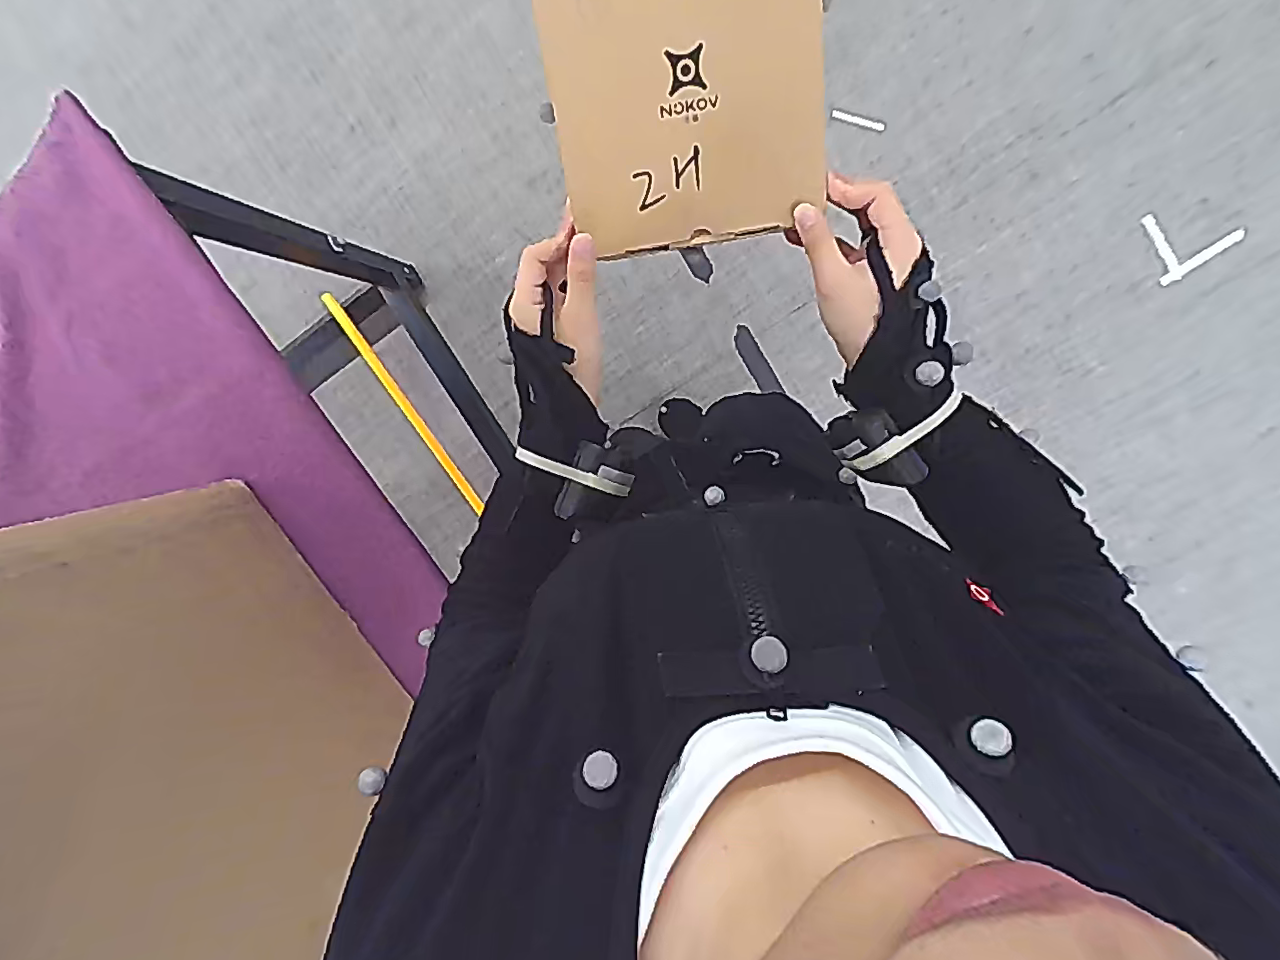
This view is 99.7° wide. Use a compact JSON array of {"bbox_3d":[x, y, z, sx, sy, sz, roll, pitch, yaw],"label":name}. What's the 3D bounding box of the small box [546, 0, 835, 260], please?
[{"bbox_3d":[0.037,-0.273,0.406,0.168,0.176,0.179,-8,110,8],"label":"small box"}]
